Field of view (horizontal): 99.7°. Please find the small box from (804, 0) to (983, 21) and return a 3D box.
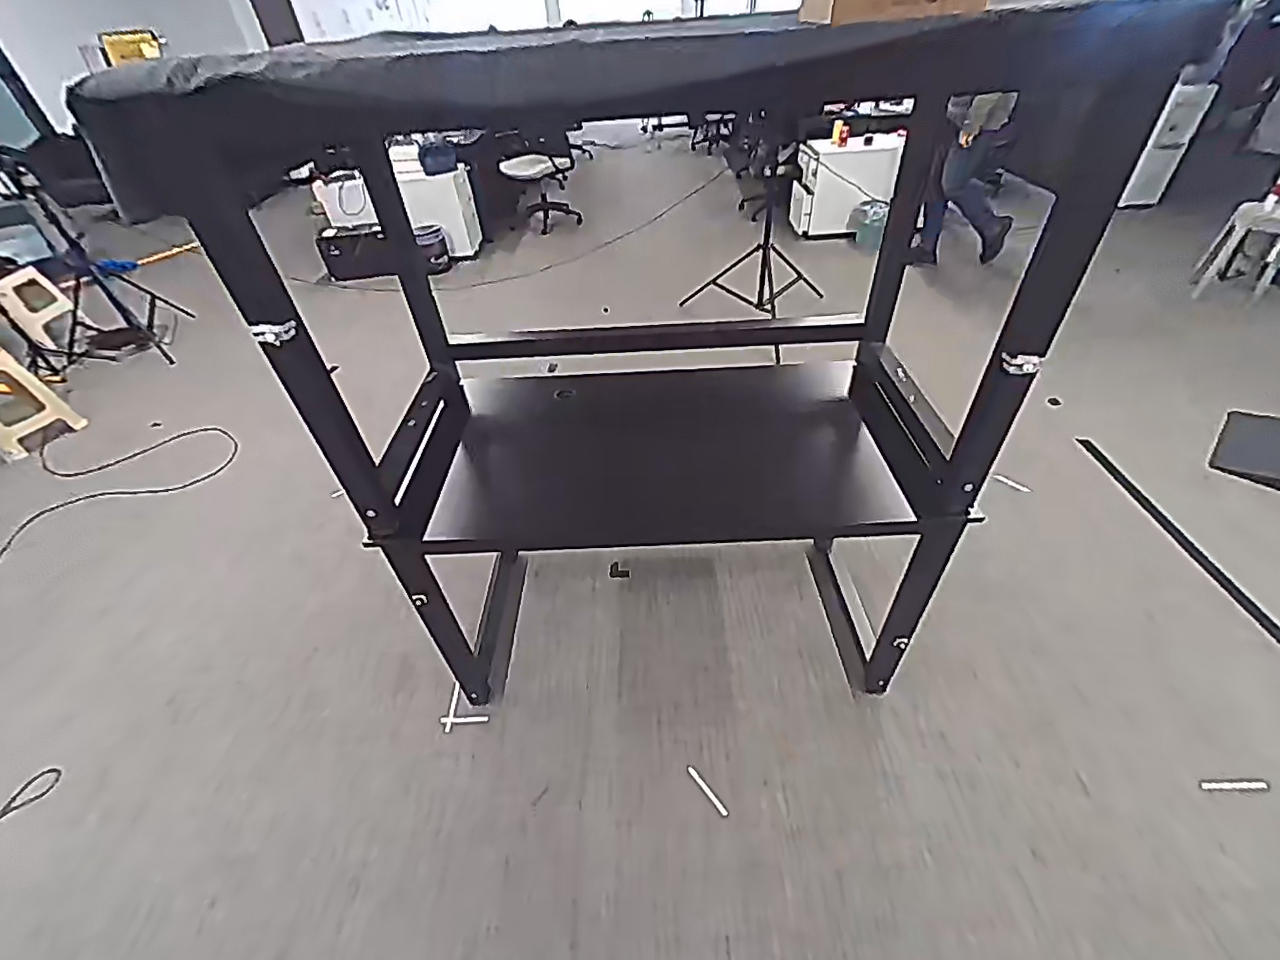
[{"bbox_3d":[0.285,-0.619,0.593,0.168,0.176,0.179,-3,41,4],"label":"small box"}]
